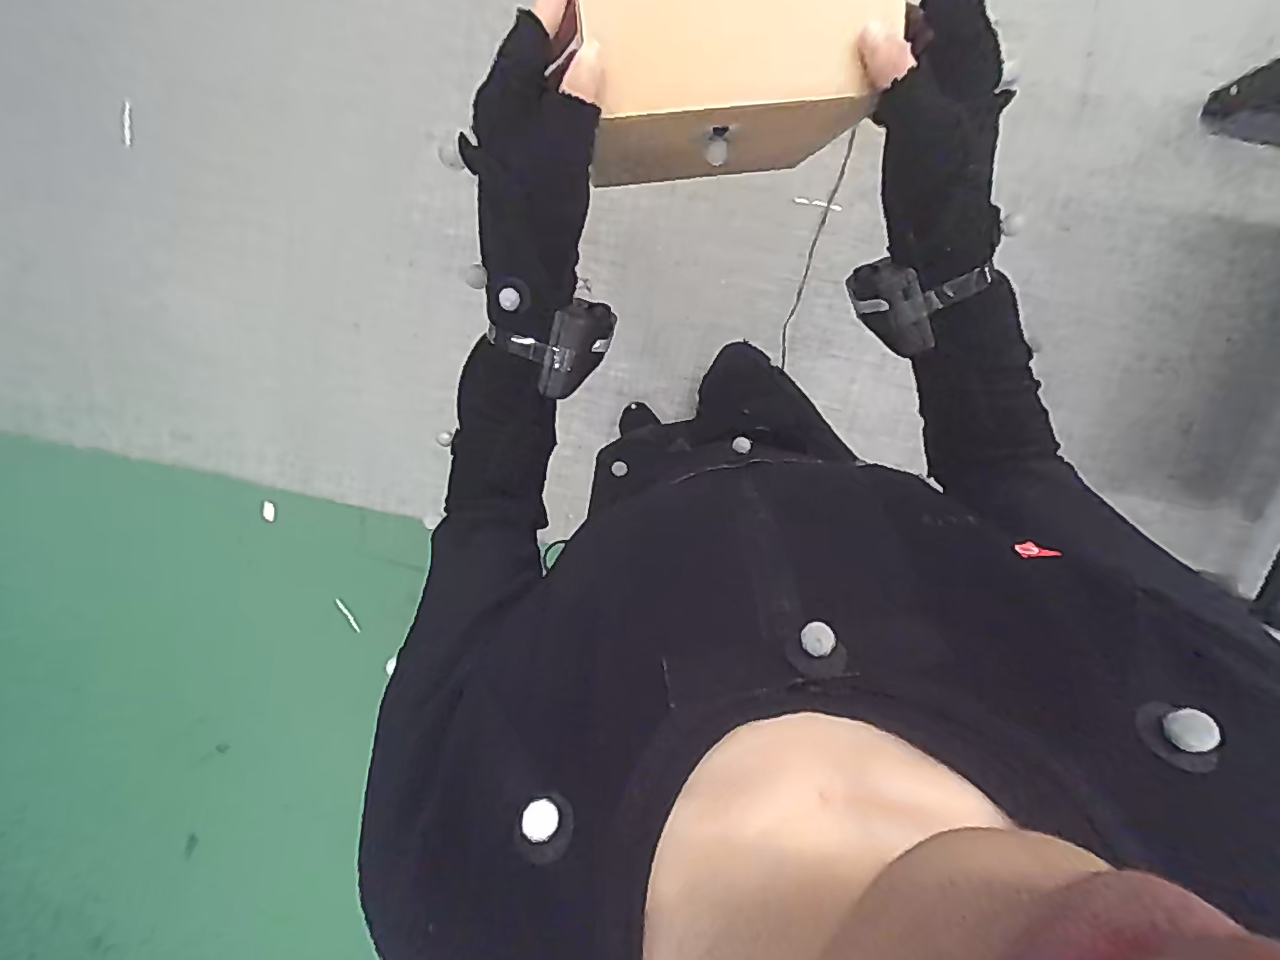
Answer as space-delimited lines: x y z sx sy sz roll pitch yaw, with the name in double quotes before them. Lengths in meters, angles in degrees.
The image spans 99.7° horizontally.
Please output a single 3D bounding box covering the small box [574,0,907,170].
"small box" 0.046 -0.310 0.341 0.179 0.176 0.168 -6 108 0
